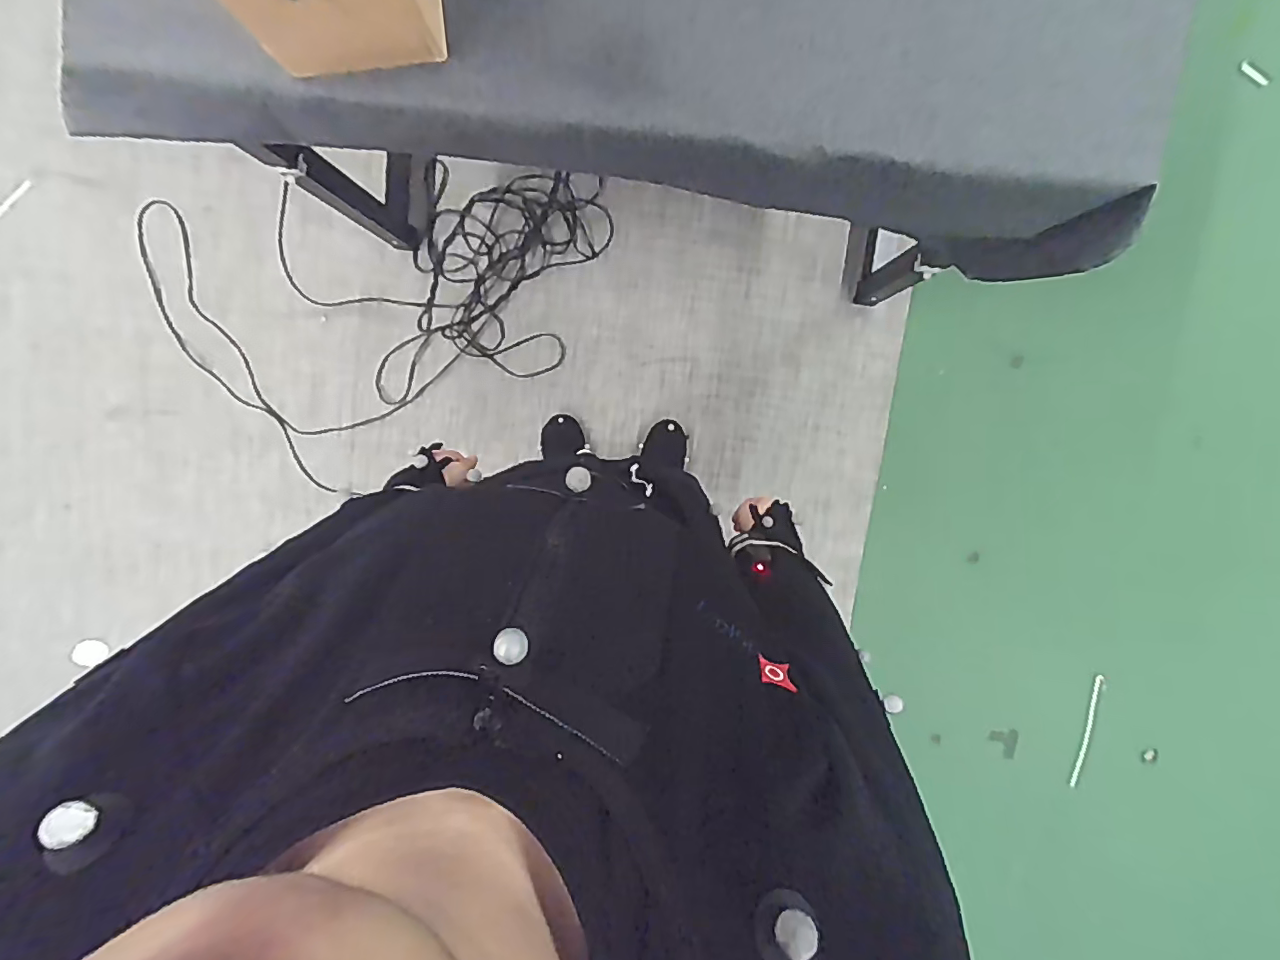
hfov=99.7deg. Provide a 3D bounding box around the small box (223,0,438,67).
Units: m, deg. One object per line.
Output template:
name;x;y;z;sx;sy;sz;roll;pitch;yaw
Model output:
small box;-0.300;-0.522;0.496;0.179;0.176;0.168;-5;96;2
